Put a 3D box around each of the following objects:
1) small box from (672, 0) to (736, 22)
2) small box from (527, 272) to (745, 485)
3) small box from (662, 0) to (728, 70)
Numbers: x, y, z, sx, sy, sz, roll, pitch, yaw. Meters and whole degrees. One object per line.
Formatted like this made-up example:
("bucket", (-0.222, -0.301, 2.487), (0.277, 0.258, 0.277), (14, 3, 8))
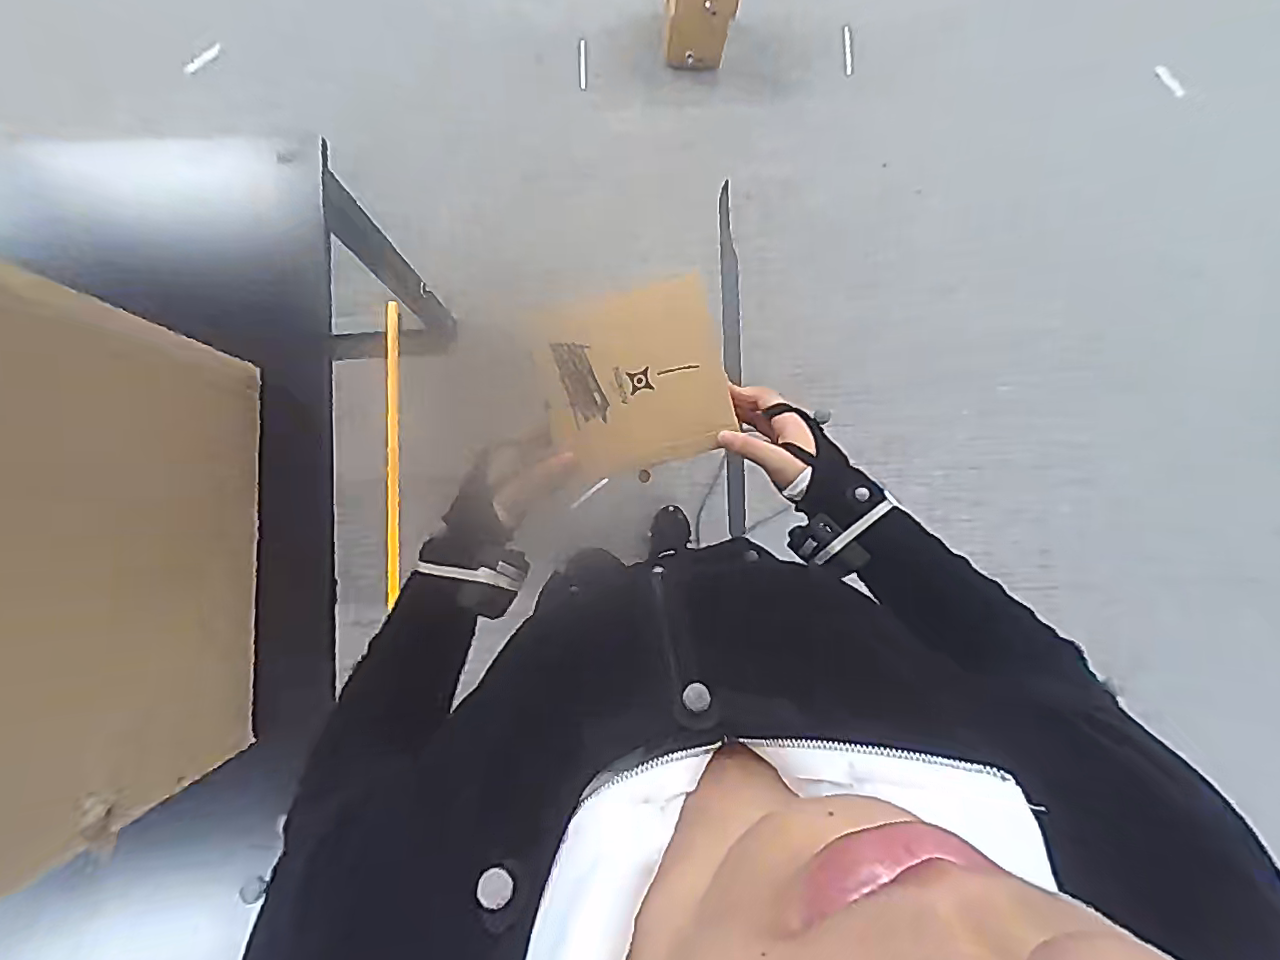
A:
("small box", (0.166, -1.317, 1.366), (0.168, 0.176, 0.179), (-2, 86, -1))
("small box", (0.000, -0.096, 0.583), (0.179, 0.176, 0.168), (-15, 92, 3))
("small box", (0.152, -1.313, 1.531), (0.168, 0.176, 0.179), (-2, 87, -2))
